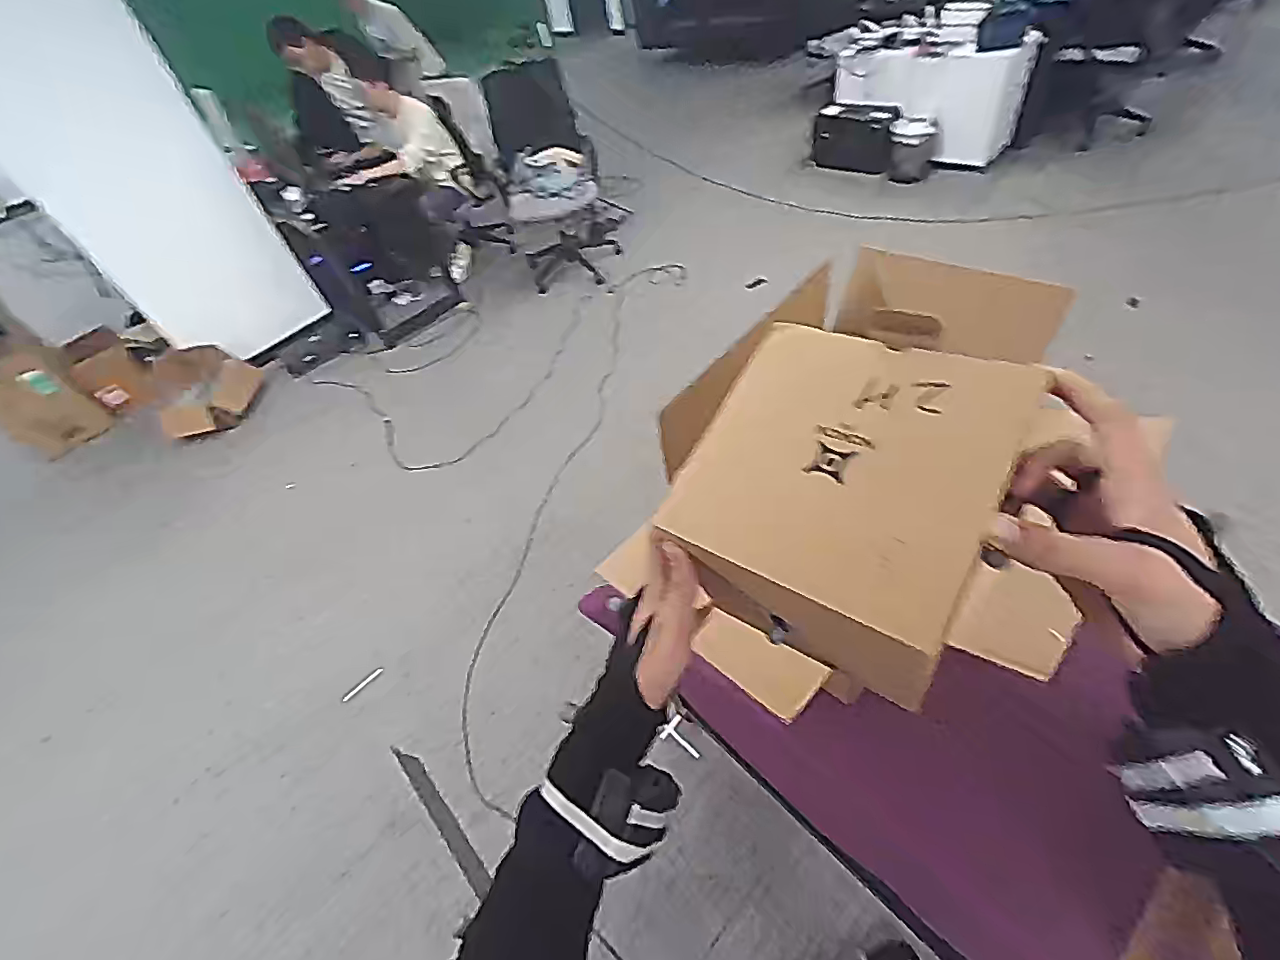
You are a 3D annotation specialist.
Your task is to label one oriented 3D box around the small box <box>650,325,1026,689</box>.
[{"bbox_3d":[0.141,0.023,0.388,0.168,0.176,0.179,23,70,33],"label":"small box"}]
